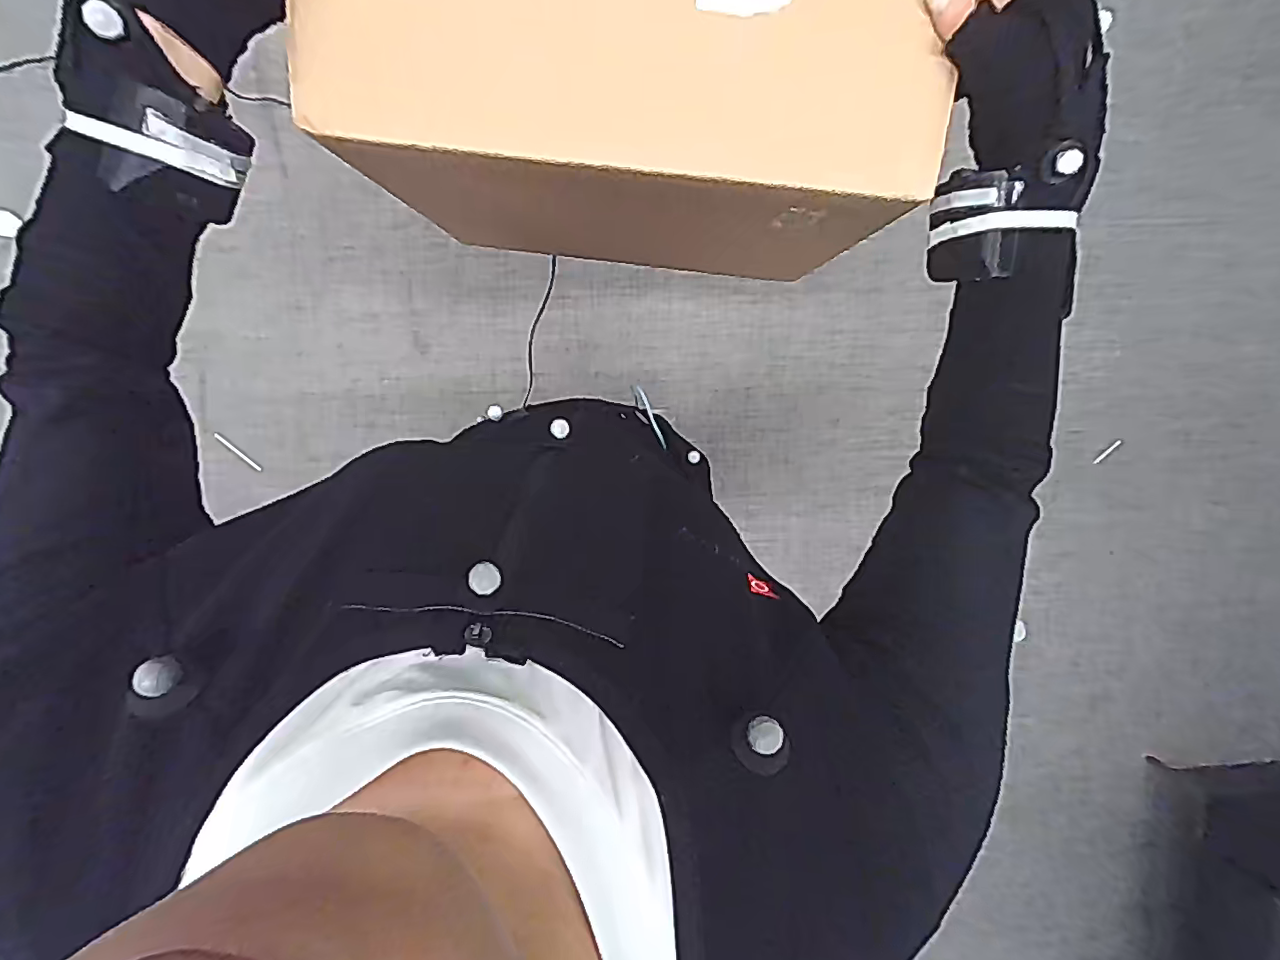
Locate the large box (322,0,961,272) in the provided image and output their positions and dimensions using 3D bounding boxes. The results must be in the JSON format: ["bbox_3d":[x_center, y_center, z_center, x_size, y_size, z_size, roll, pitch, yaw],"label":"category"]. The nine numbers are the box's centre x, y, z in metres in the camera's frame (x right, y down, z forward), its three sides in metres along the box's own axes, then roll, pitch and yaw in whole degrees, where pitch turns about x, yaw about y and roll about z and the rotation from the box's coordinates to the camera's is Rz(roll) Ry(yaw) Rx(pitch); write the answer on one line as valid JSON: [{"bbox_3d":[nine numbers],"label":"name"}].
[{"bbox_3d":[0.006,-0.384,0.471,0.408,0.320,0.320,5,102,-1],"label":"large box"}]
